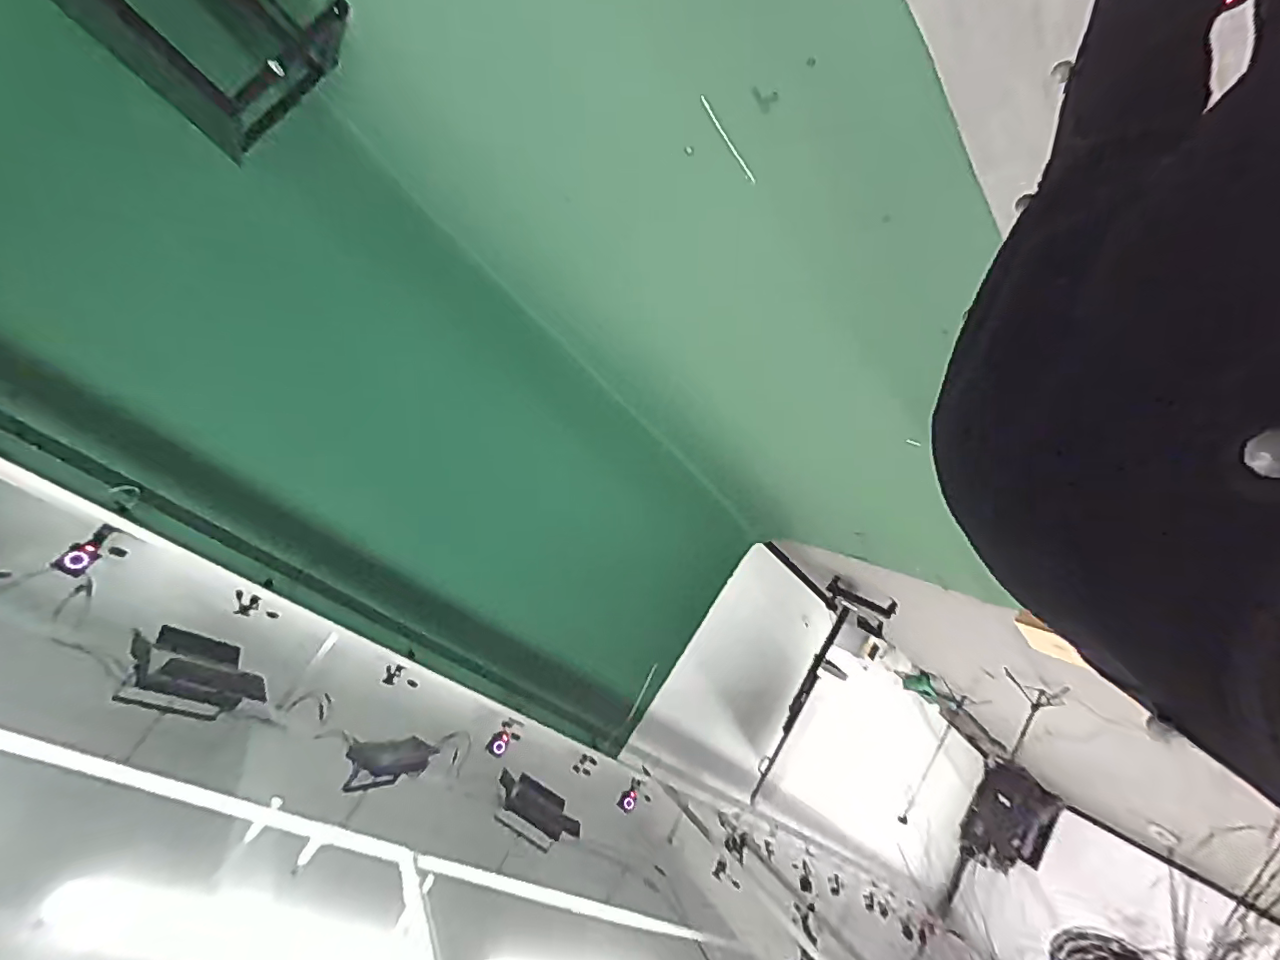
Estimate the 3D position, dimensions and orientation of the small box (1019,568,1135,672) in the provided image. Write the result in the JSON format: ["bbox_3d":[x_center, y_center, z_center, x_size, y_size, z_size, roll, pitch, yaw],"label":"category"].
[{"bbox_3d":[1.110,0.346,1.367,0.168,0.176,0.179,42,166,-28],"label":"small box"}]
